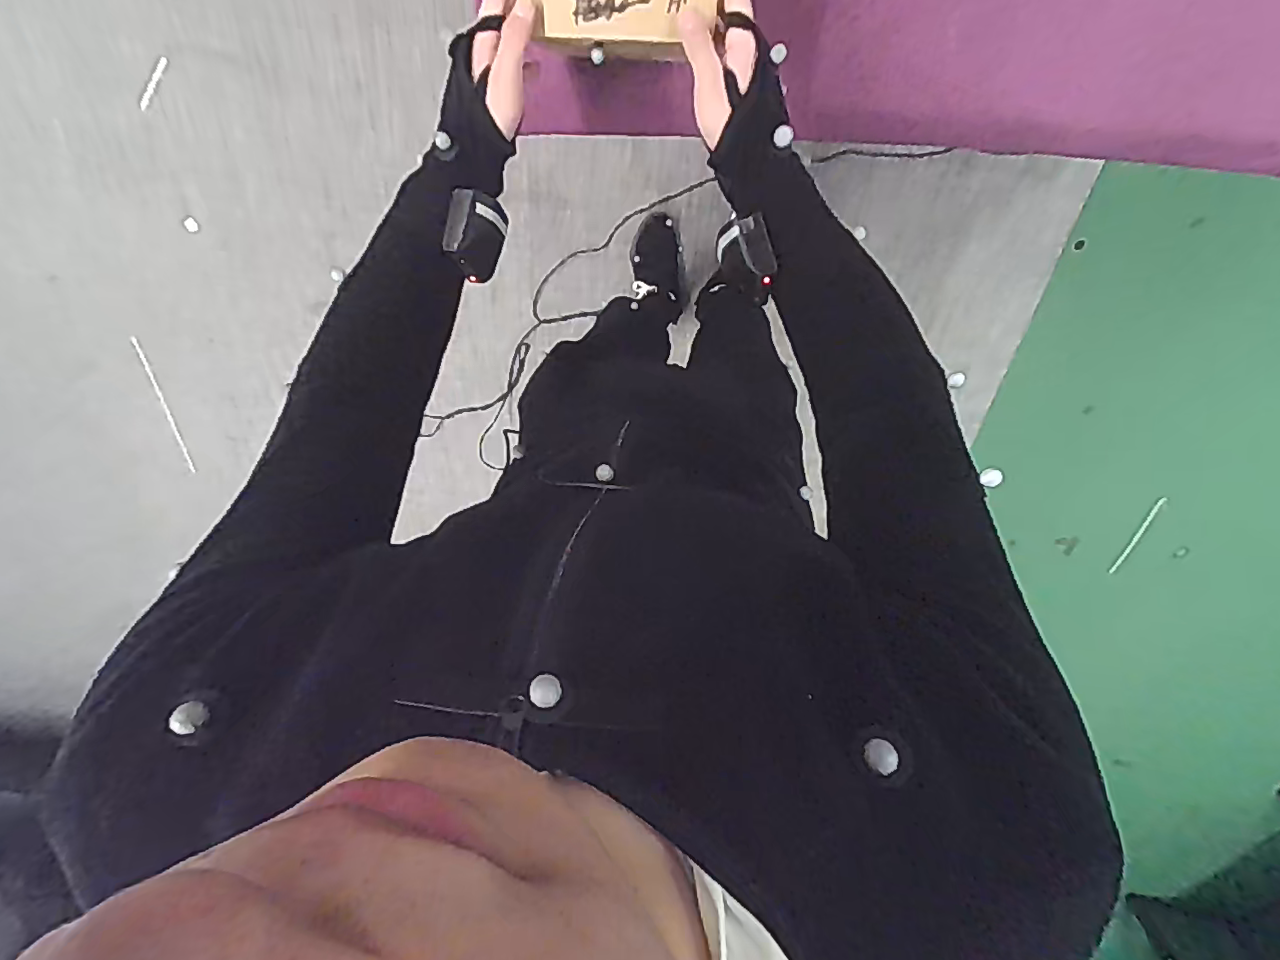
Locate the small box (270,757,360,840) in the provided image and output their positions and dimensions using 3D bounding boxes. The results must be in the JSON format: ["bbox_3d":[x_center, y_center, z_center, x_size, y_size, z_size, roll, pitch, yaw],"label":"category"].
[{"bbox_3d":[-1.098,1.076,1.837,0.179,0.176,0.168,36,116,-19],"label":"small box"}]

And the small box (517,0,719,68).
[{"bbox_3d":[-0.014,-0.479,0.470,0.168,0.176,0.179,3,124,0],"label":"small box"}]
